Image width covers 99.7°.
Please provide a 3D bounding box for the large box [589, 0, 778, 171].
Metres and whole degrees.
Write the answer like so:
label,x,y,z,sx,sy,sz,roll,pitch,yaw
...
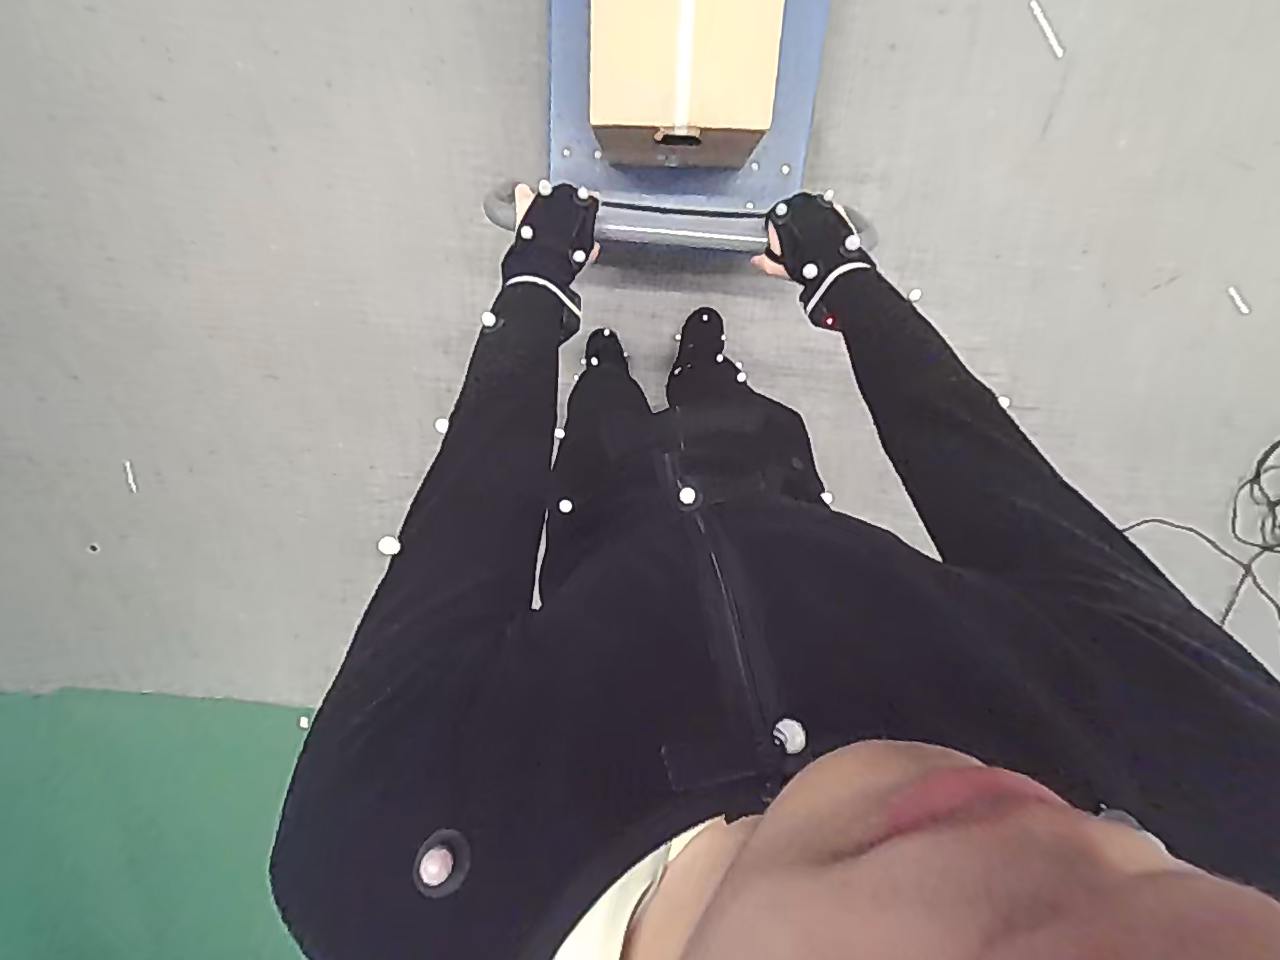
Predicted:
label,x,y,z,sx,sy,sz,roll,pitch,yaw
large box,0.079,-0.835,1.016,0.320,0.320,0.408,3,109,2
